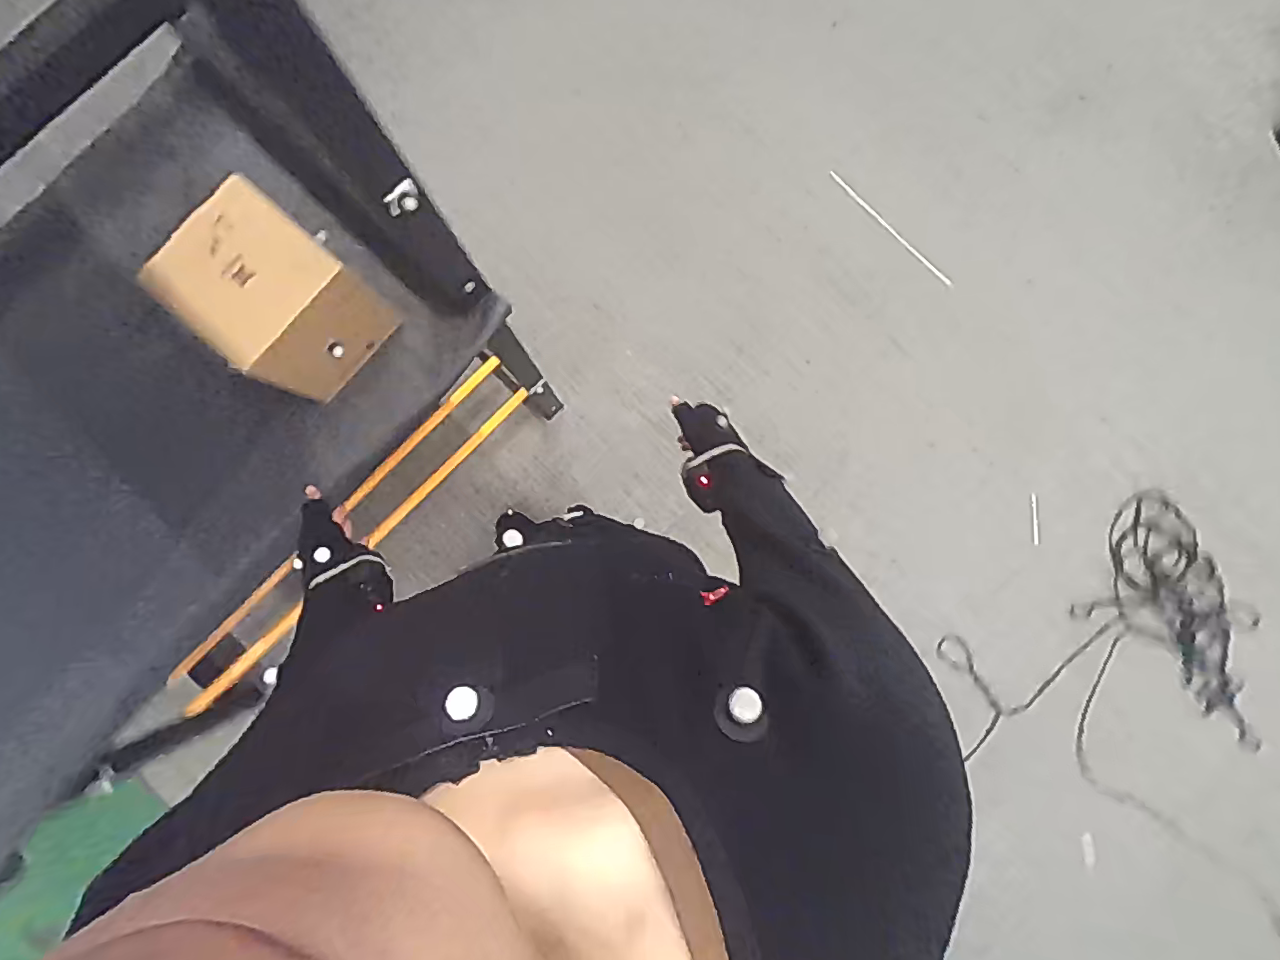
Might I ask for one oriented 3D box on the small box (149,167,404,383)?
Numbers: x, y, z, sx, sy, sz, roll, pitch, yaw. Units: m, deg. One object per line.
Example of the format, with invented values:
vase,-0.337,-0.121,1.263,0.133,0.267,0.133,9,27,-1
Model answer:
small box,-0.447,-0.244,0.700,0.179,0.176,0.168,42,87,2
